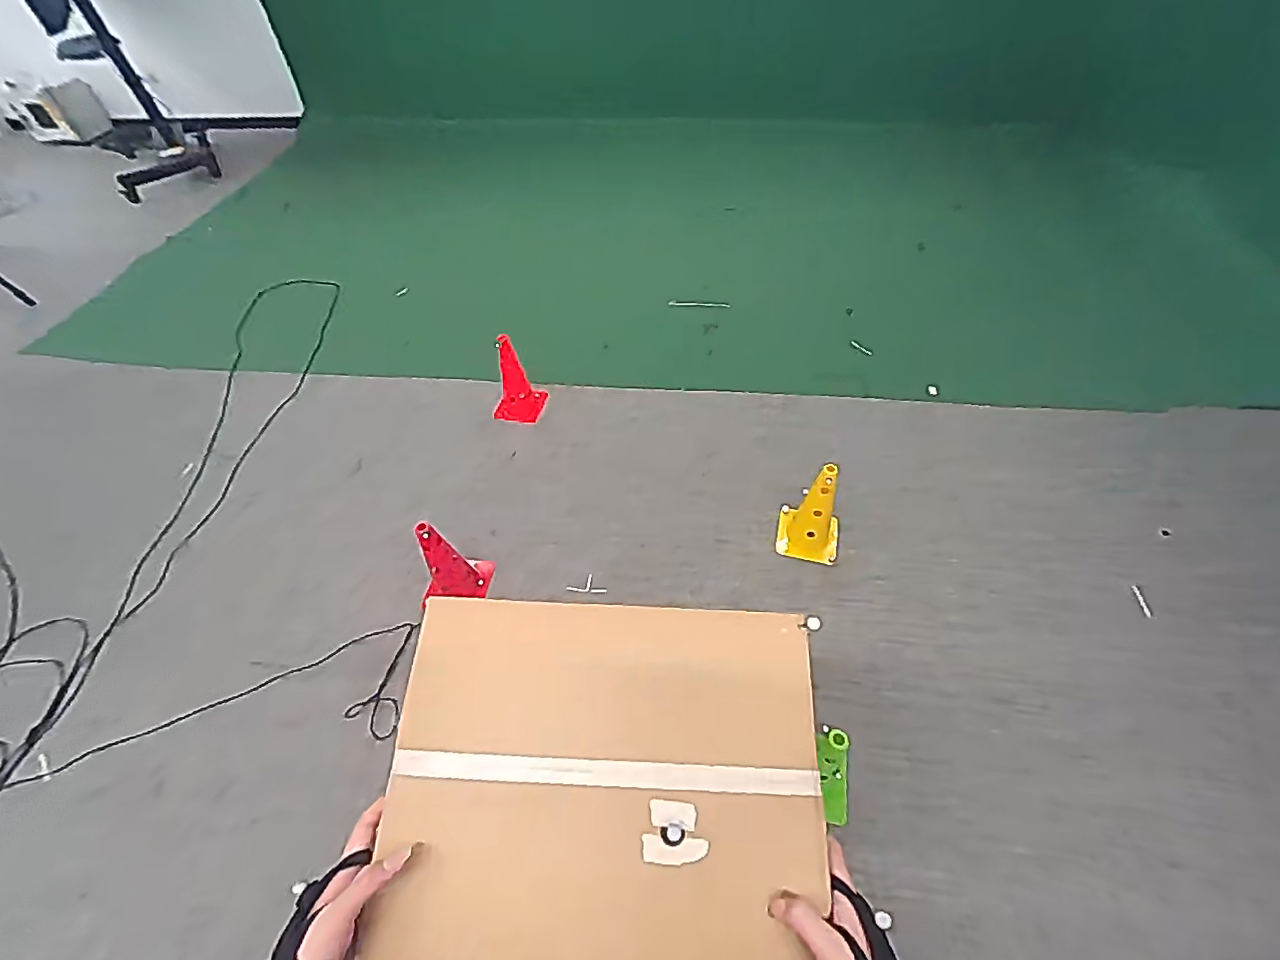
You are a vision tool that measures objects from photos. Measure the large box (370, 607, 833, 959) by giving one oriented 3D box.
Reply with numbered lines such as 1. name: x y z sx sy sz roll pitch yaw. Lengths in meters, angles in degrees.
1. large box: -0.031 0.345 0.654 0.408 0.320 0.320 2 66 1

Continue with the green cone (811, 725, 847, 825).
1. green cone: 0.430 0.662 1.285 0.200 0.368 0.202 8 51 9

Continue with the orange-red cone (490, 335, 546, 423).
1. orange-red cone: -0.535 -0.430 2.203 0.199 0.360 0.198 9 51 11
